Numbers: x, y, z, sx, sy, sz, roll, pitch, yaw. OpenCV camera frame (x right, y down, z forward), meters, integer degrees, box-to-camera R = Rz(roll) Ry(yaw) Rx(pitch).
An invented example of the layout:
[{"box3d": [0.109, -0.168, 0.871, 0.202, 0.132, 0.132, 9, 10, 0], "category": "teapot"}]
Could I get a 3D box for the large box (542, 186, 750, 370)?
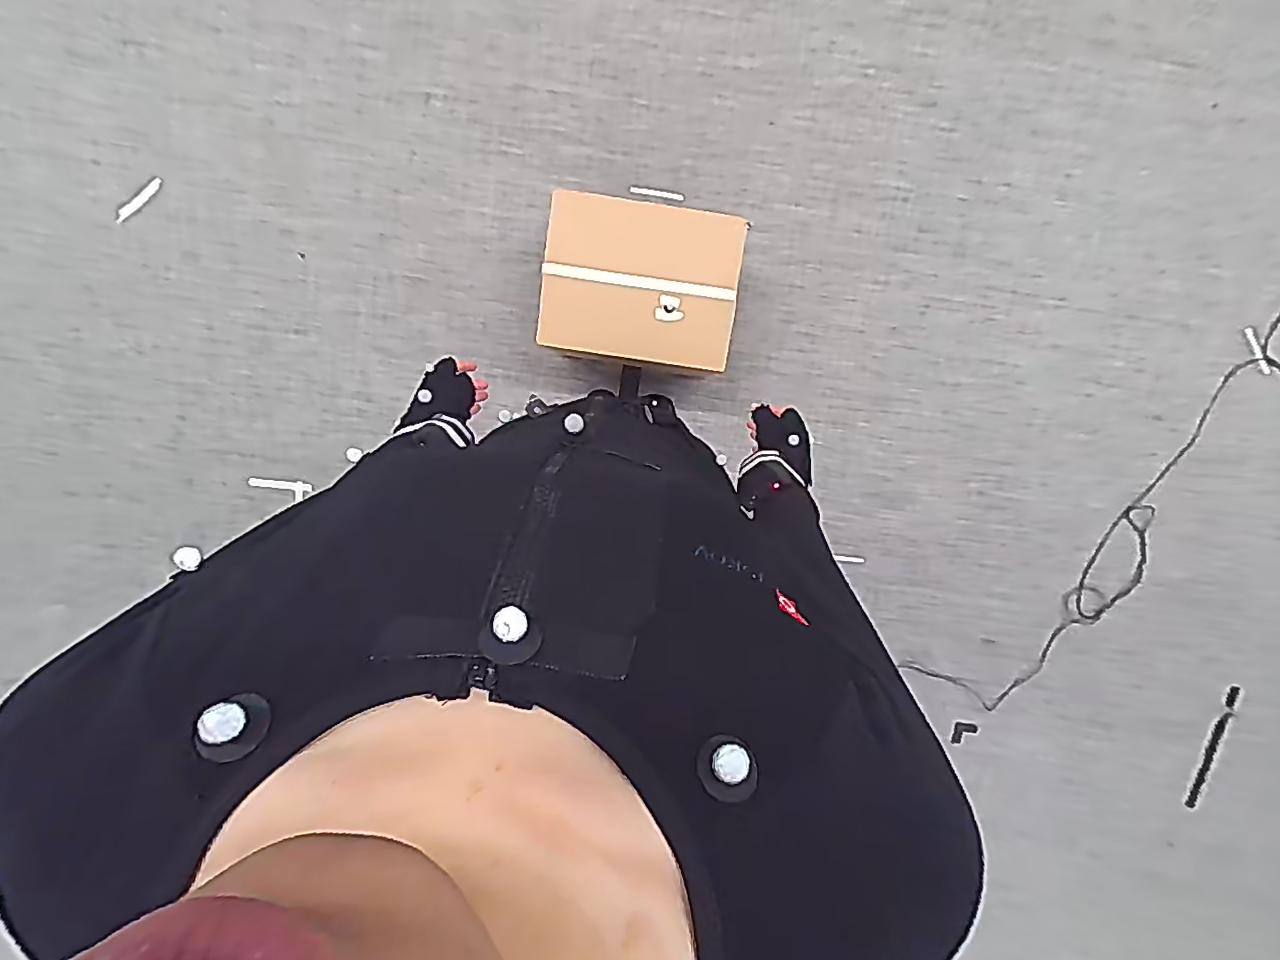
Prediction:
[{"box3d": [0.005, -0.441, 1.260, 0.408, 0.320, 0.320, 8, 100, -2], "category": "large box"}]
